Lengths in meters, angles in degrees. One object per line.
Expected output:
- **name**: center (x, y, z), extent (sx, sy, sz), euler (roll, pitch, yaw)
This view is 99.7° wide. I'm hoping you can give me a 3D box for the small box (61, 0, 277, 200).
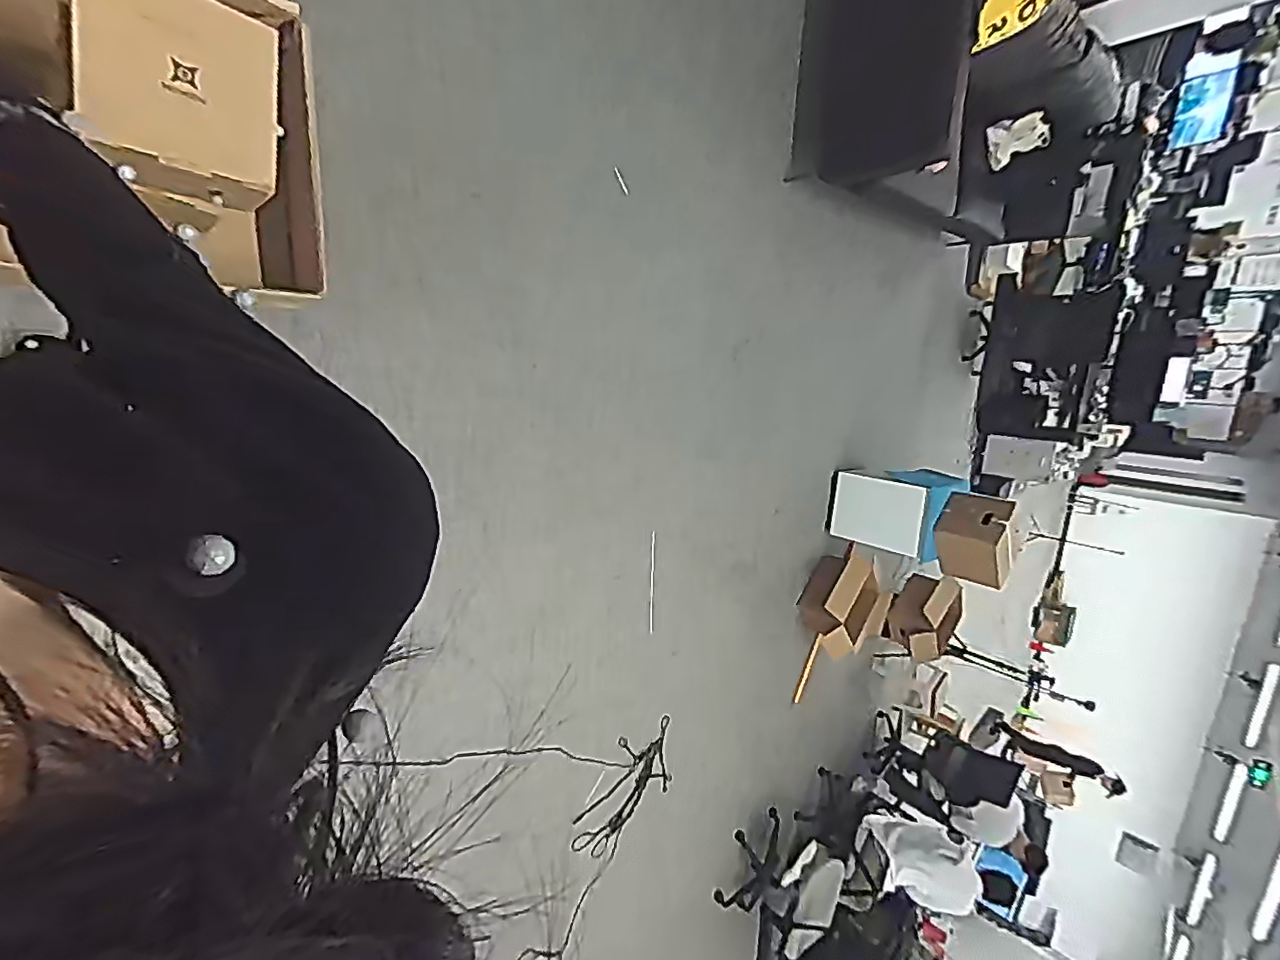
- **small box**: center (-0.526, -0.438, 0.605), extent (0.168, 0.176, 0.179), euler (-1, 103, -46)
